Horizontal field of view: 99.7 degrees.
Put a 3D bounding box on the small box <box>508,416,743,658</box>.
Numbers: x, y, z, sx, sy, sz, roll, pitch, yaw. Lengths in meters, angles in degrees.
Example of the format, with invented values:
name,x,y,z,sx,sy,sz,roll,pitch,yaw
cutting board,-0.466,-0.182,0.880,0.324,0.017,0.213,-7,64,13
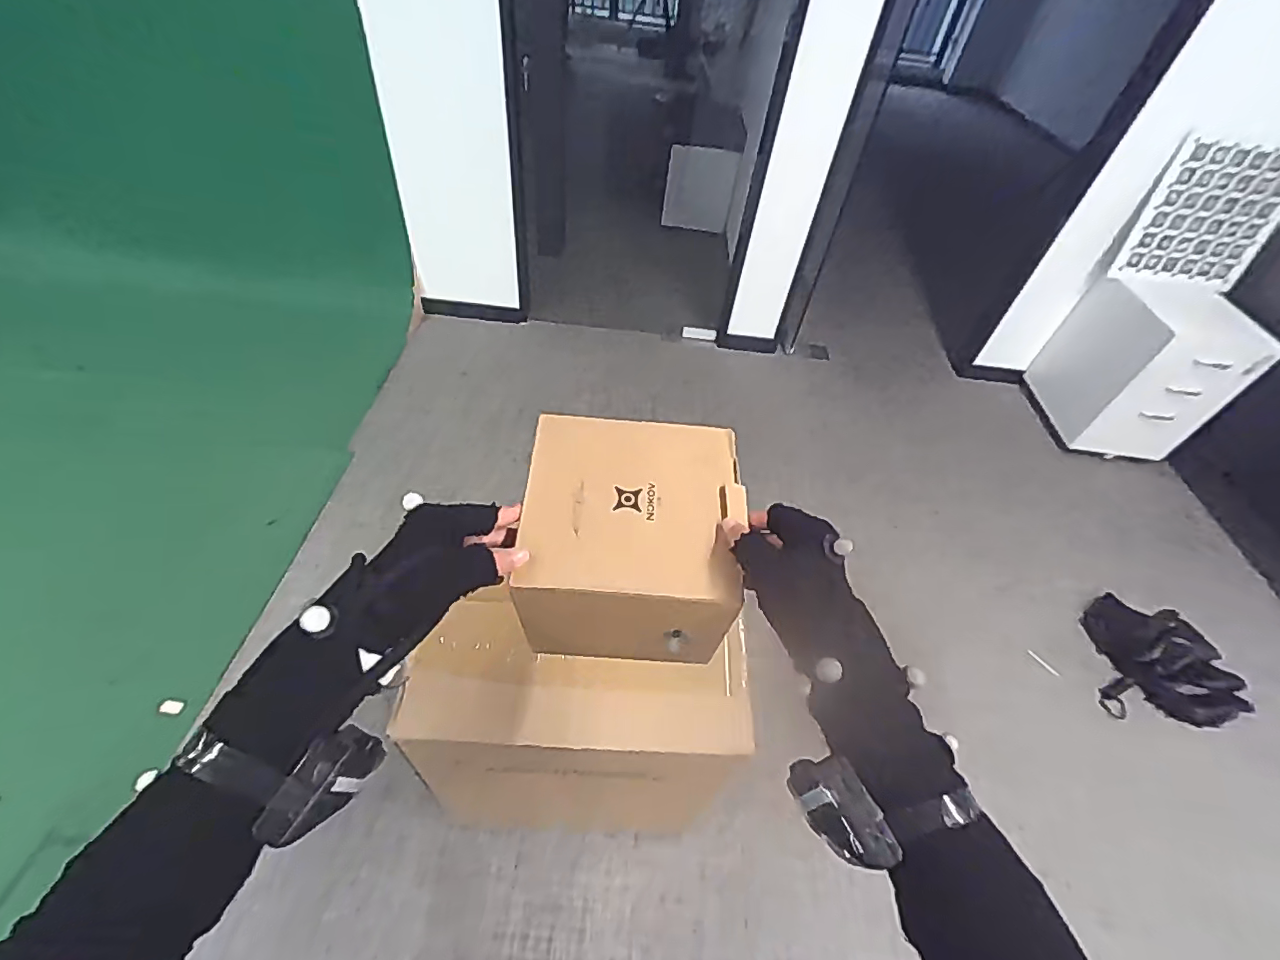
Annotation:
name,x,y,z,sx,sy,sz,roll,pitch,yaw
small box,-0.011,0.060,0.507,0.179,0.176,0.168,2,55,-1
